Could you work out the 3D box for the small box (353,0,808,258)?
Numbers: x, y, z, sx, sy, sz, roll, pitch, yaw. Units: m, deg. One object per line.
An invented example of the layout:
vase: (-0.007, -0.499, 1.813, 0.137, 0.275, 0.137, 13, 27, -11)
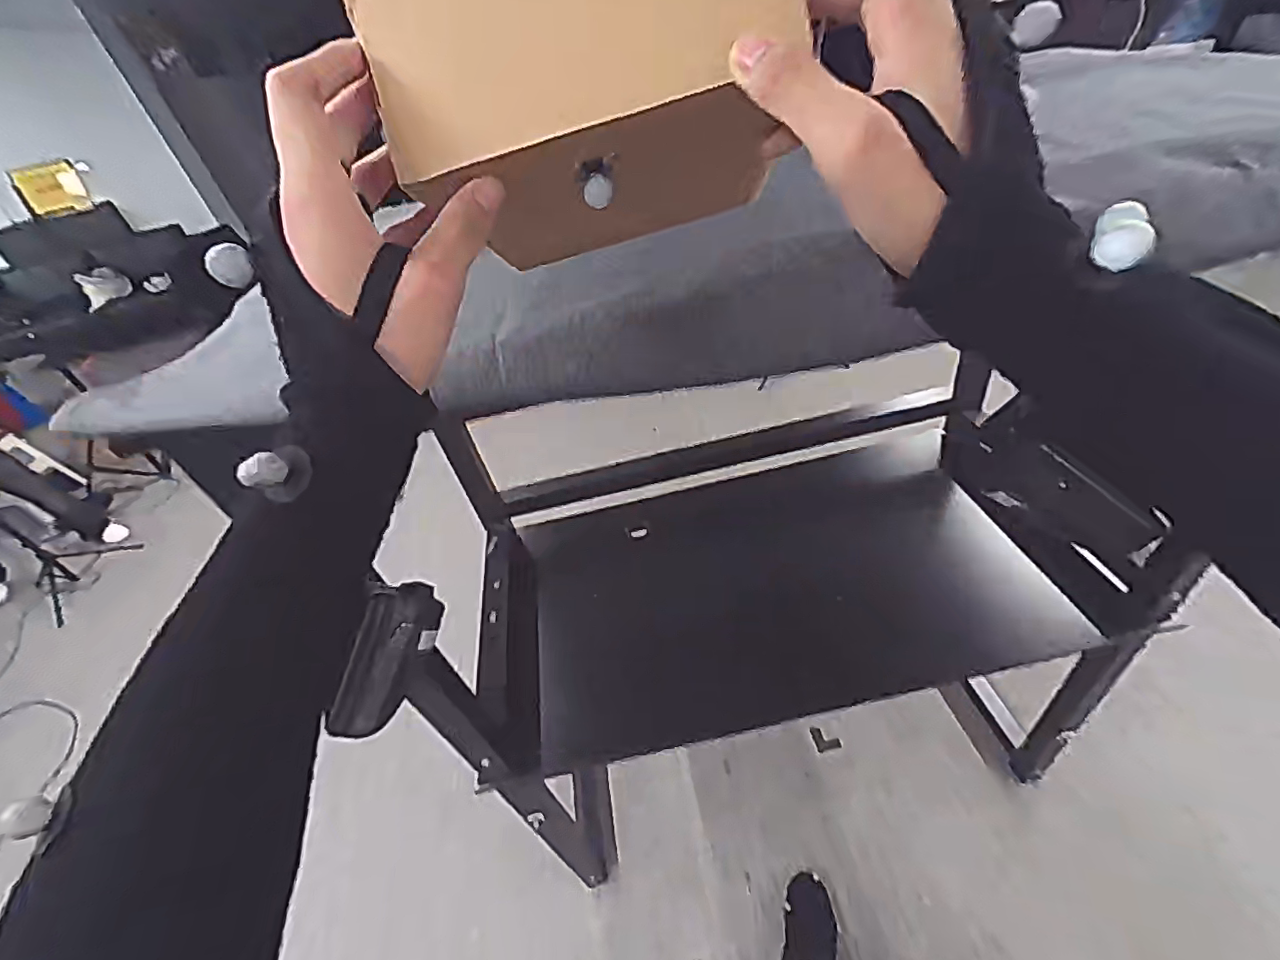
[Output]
small box: (-0.029, -0.237, 0.287, 0.179, 0.168, 0.176, -13, 8, 7)
